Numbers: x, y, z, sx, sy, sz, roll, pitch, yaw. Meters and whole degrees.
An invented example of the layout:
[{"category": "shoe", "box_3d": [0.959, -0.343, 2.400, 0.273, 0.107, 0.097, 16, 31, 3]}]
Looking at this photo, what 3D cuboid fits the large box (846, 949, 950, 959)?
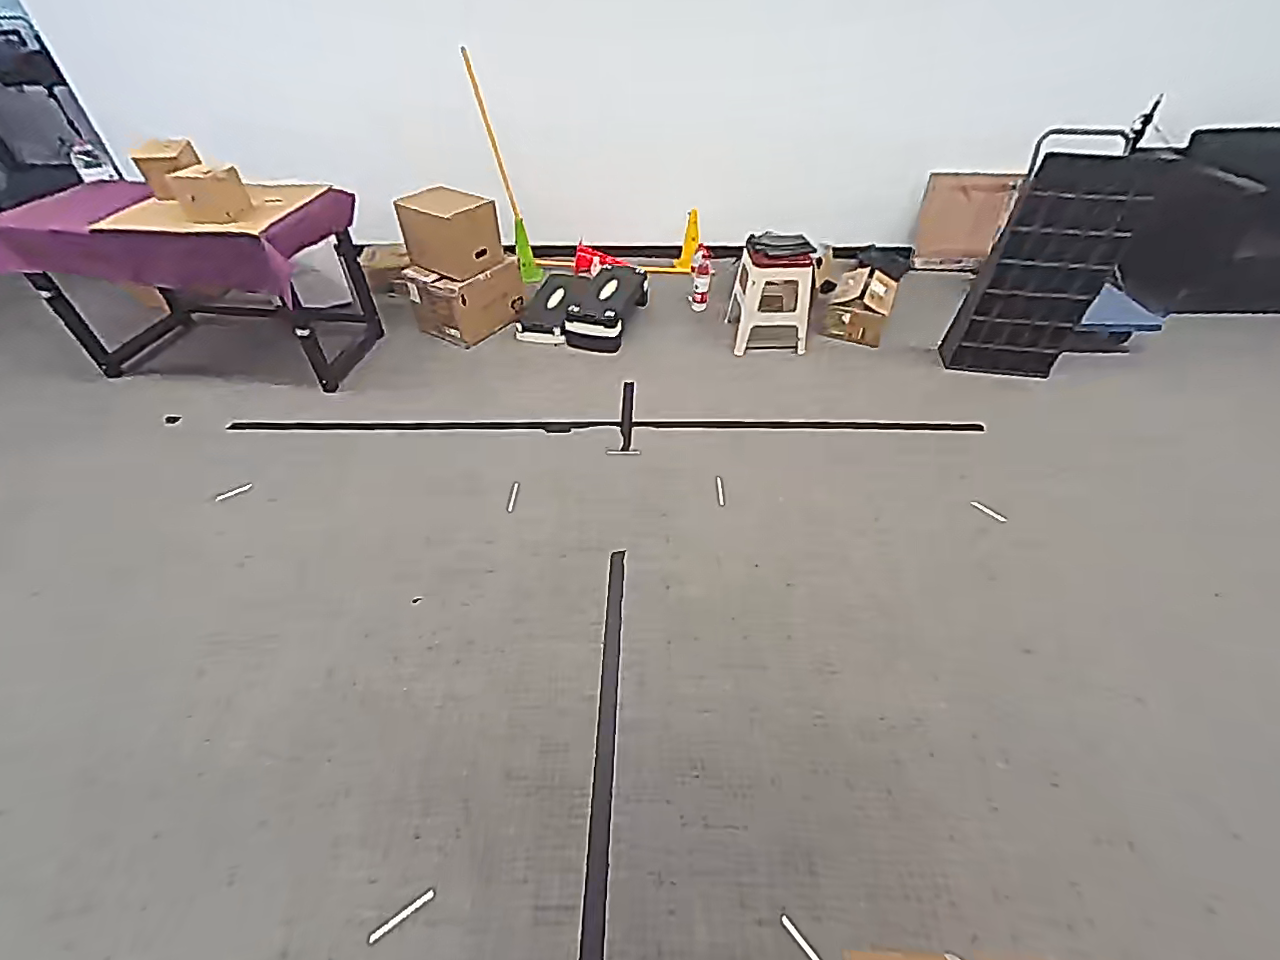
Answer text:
[{"category": "large box", "box_3d": [0.438, 0.785, 0.565, 0.320, 0.408, 0.320, 1, 69, 5]}]
